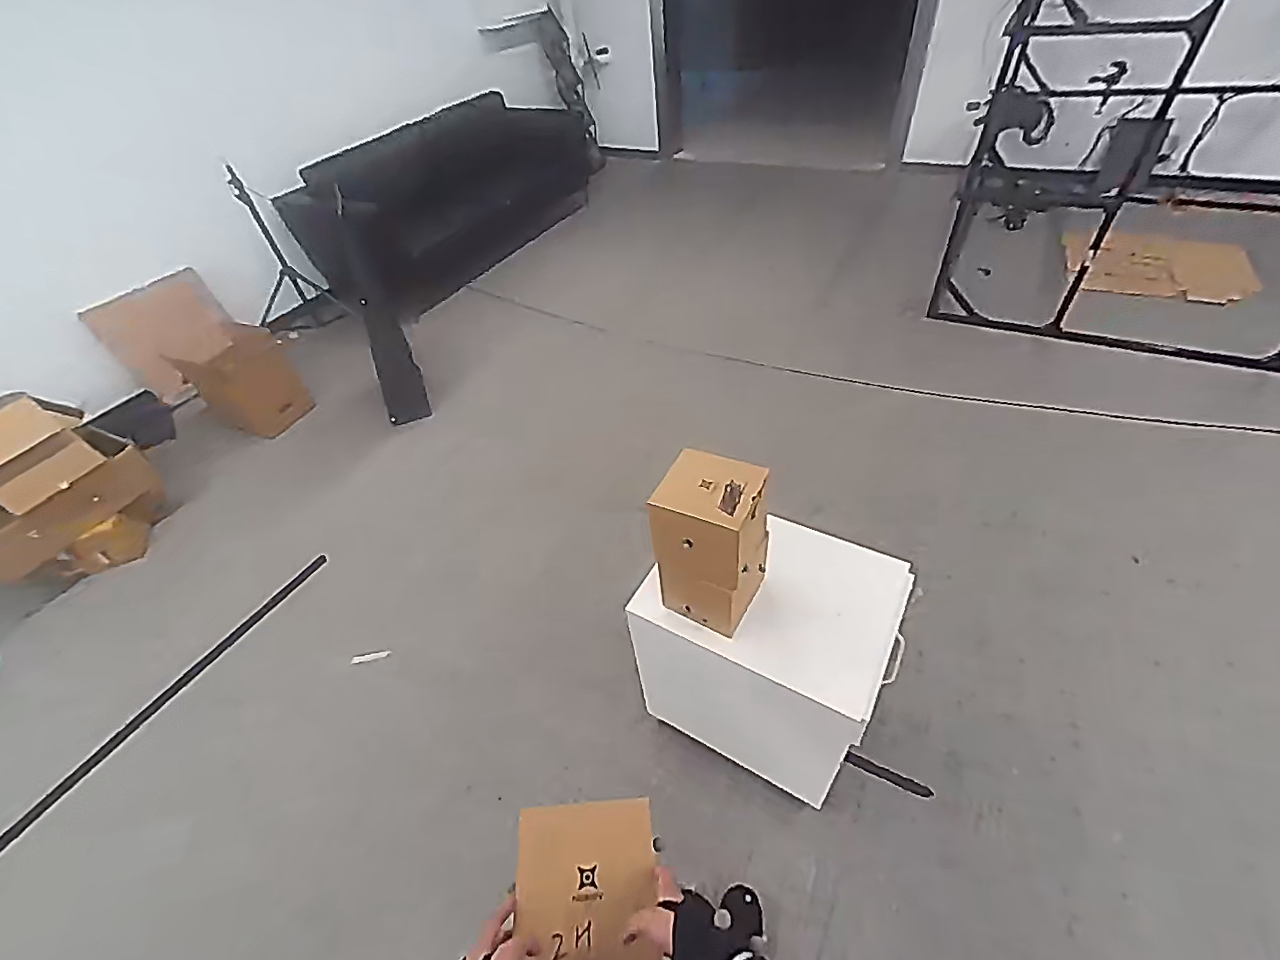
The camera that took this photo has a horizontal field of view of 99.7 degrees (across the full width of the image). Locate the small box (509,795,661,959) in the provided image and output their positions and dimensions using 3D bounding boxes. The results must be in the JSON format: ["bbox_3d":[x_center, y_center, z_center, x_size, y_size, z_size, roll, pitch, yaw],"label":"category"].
[{"bbox_3d":[-0.069,0.522,0.683,0.168,0.176,0.179,-1,47,-6],"label":"small box"}]

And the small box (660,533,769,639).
[{"bbox_3d":[0.155,0.195,1.133,0.168,0.176,0.179,20,50,26],"label":"small box"}]

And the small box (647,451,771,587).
[{"bbox_3d":[0.134,0.076,1.021,0.179,0.176,0.168,16,48,25],"label":"small box"}]
